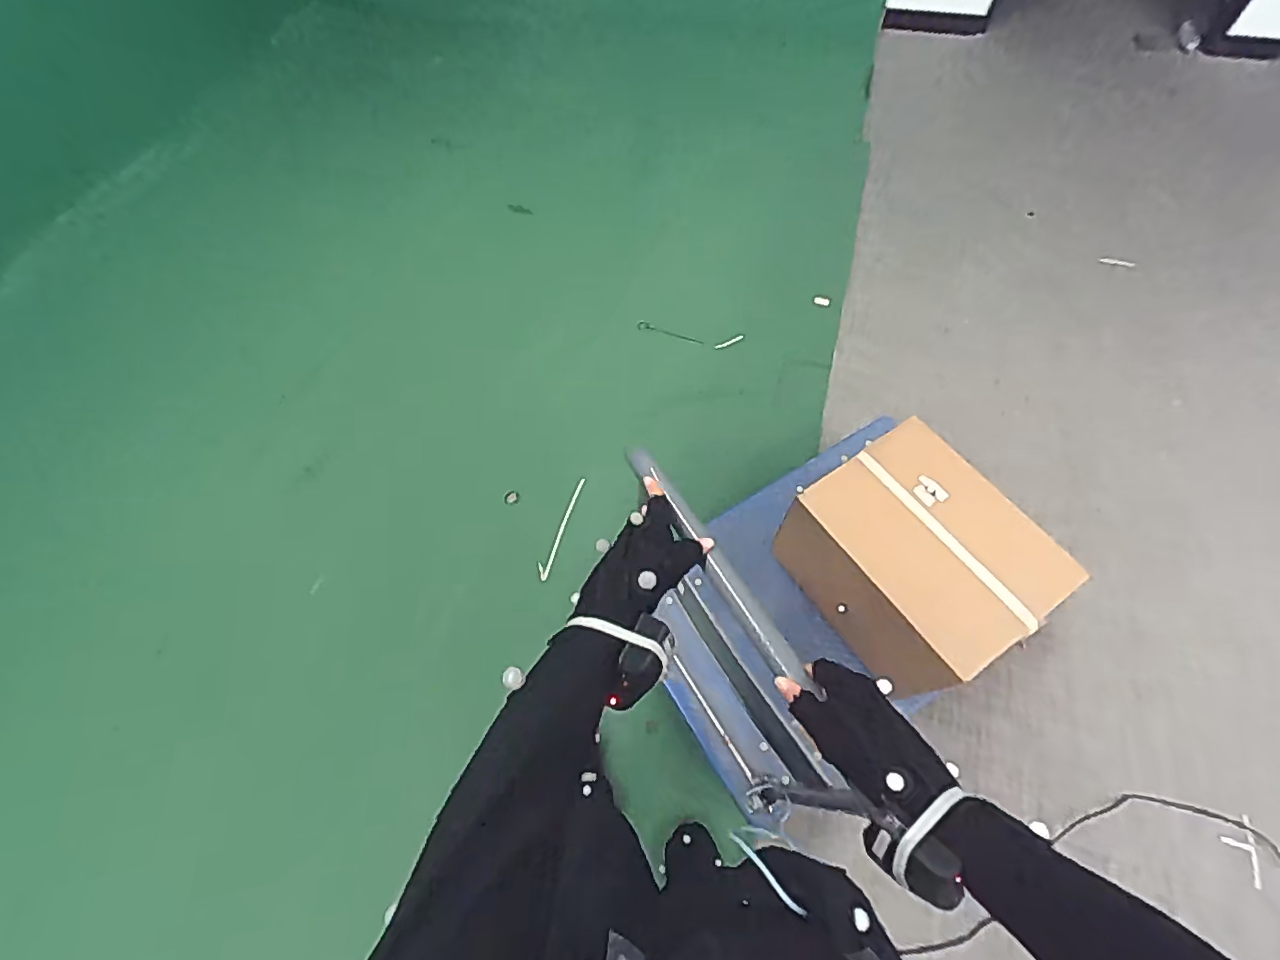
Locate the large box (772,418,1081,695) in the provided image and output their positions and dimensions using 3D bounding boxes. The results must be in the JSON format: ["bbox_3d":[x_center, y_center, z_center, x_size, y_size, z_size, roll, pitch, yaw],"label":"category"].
[{"bbox_3d":[0.530,0.162,1.100,0.320,0.320,0.408,-31,65,-12],"label":"large box"}]
